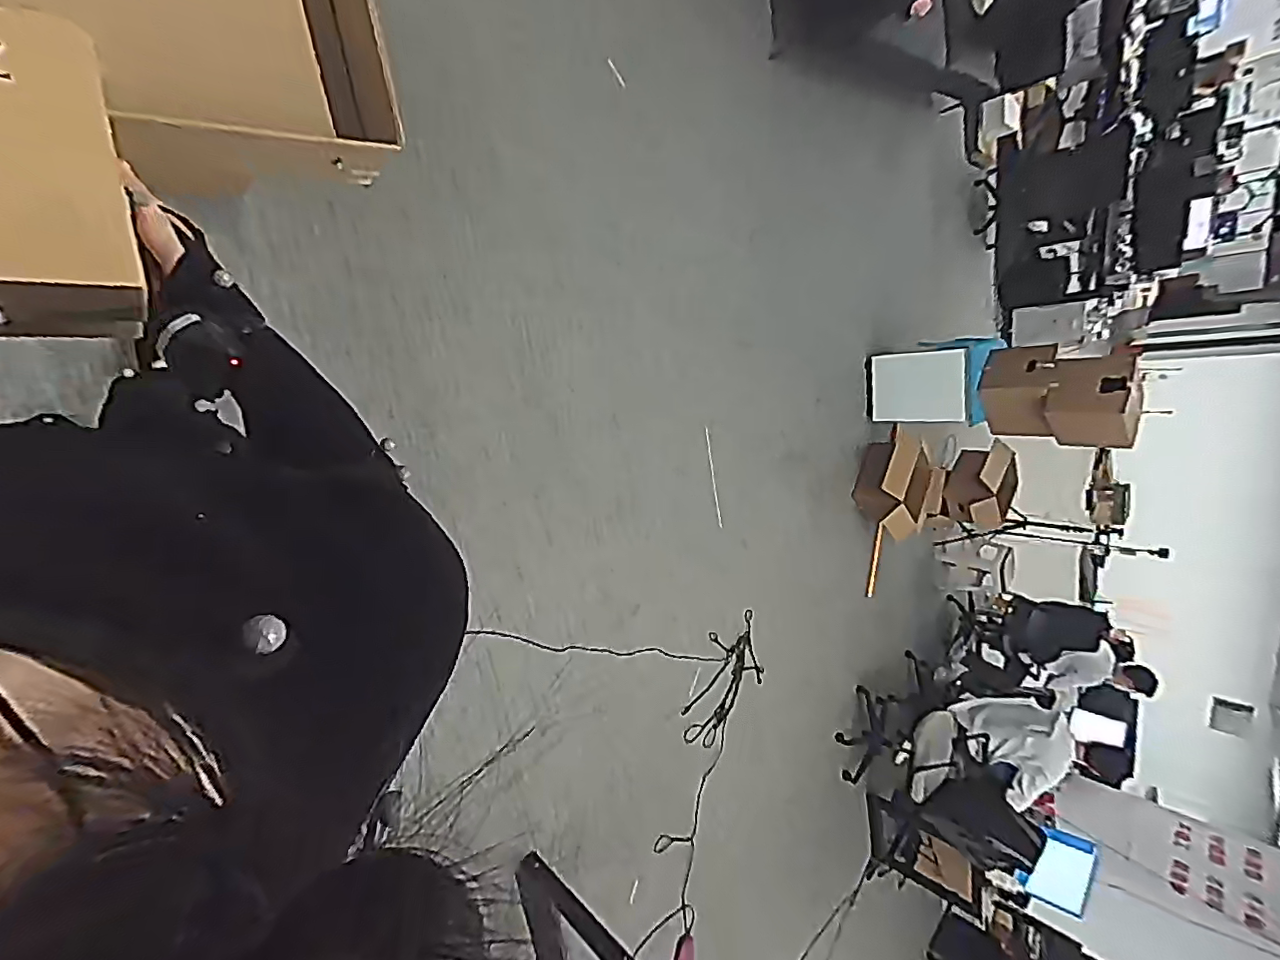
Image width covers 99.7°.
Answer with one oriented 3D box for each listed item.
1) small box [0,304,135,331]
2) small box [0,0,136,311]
[{"bbox_3d":[-0.597,-0.233,0.495,0.179,0.176,0.168,-13,102,-41],"label":"small box"},{"bbox_3d":[-0.480,-0.221,0.379,0.168,0.176,0.179,-13,102,-41],"label":"small box"}]
